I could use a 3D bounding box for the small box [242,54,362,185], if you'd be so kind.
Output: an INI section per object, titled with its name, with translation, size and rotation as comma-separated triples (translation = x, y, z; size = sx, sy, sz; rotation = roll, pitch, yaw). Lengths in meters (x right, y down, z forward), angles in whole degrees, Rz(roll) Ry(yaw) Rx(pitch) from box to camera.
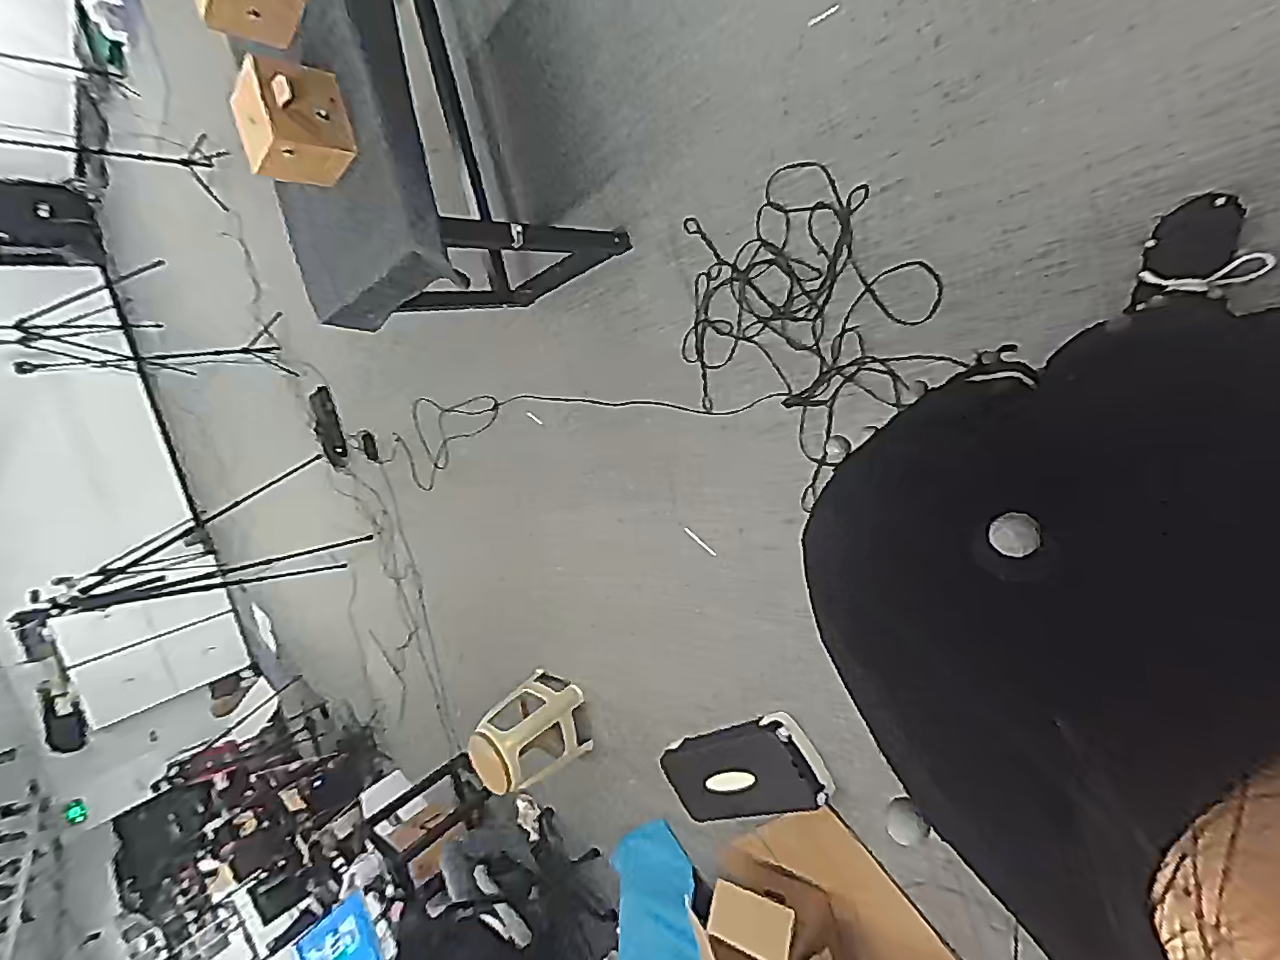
[small box]
translation = -0.744, -0.781, 1.196
size = 0.179, 0.176, 0.168
rotation = -7, 100, 43
